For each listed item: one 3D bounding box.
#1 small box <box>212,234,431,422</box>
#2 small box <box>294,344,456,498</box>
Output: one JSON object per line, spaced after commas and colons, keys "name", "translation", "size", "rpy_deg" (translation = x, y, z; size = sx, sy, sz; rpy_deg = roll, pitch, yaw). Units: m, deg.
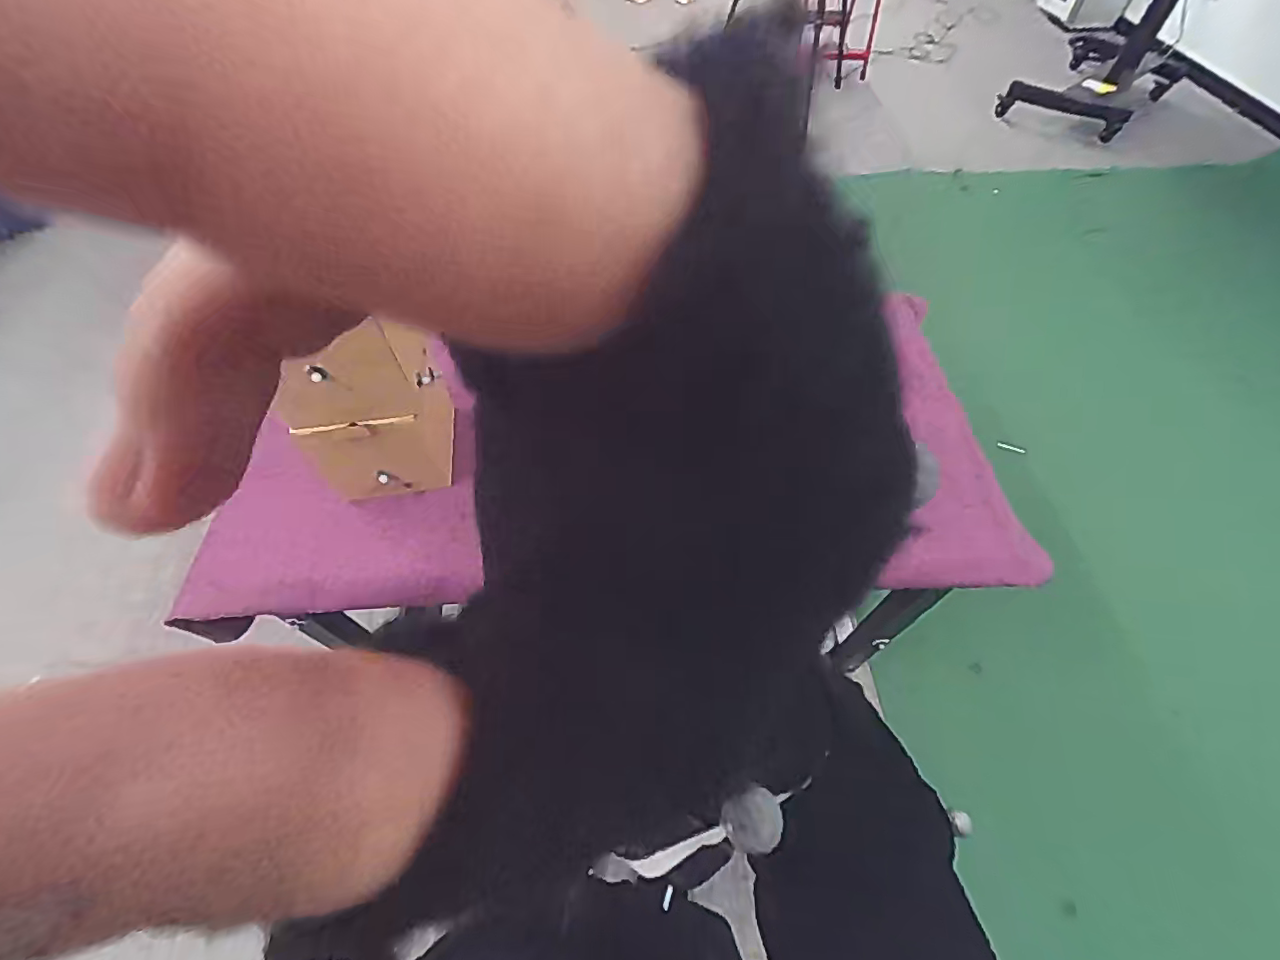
{"name": "small box", "translation": [-0.389, -0.193, 0.703], "size": [0.179, 0.176, 0.168], "rpy_deg": [-6, 54, -3]}
{"name": "small box", "translation": [-0.393, -0.095, 0.839], "size": [0.168, 0.176, 0.179], "rpy_deg": [-8, 56, -4]}
